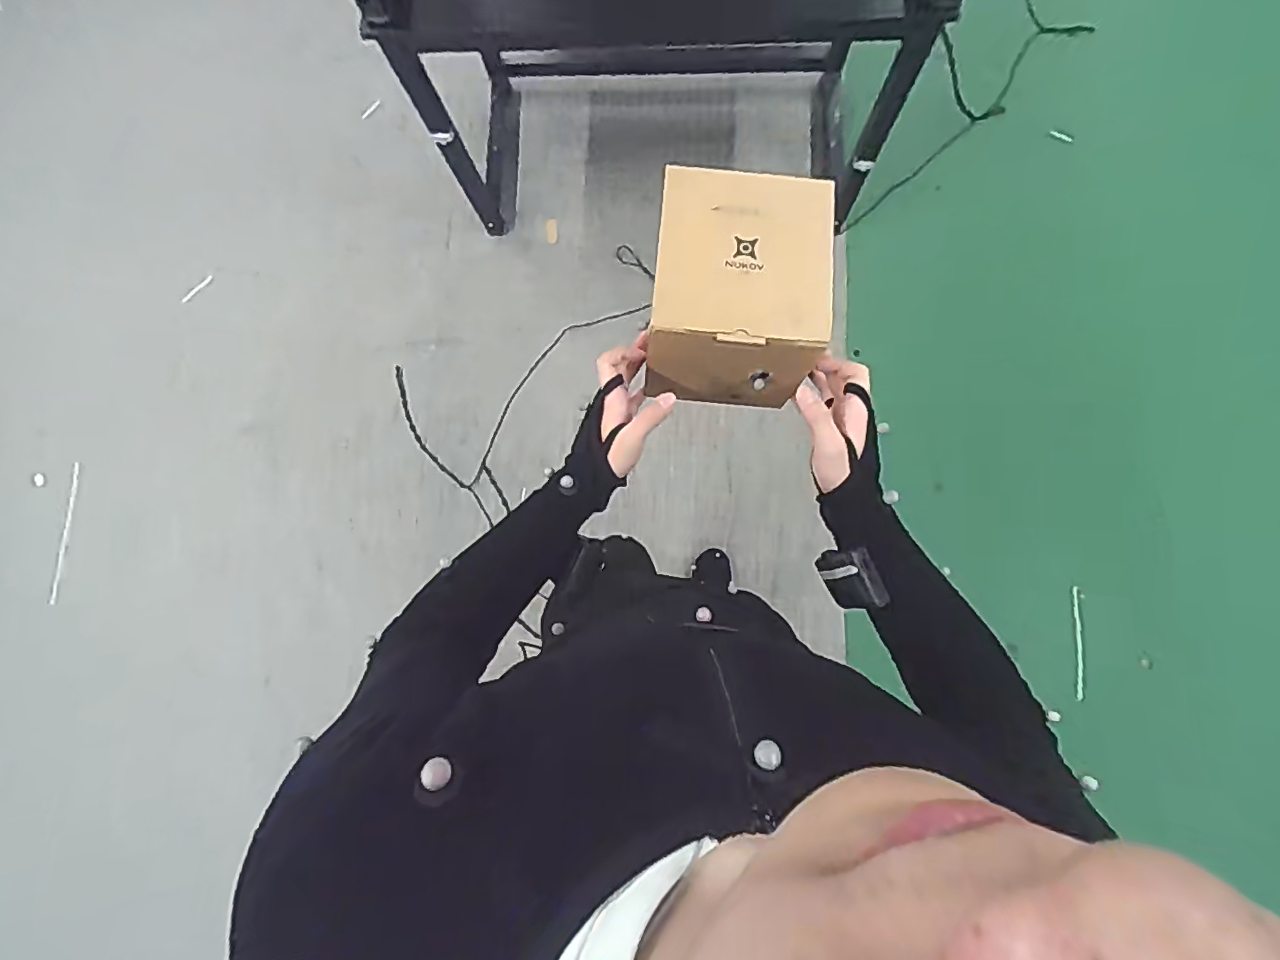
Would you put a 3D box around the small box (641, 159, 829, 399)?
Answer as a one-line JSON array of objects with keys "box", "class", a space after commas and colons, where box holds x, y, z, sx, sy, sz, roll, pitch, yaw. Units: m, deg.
[{"box": [0.091, -0.199, 0.578, 0.168, 0.176, 0.179, 6, 77, 0], "class": "small box"}]
